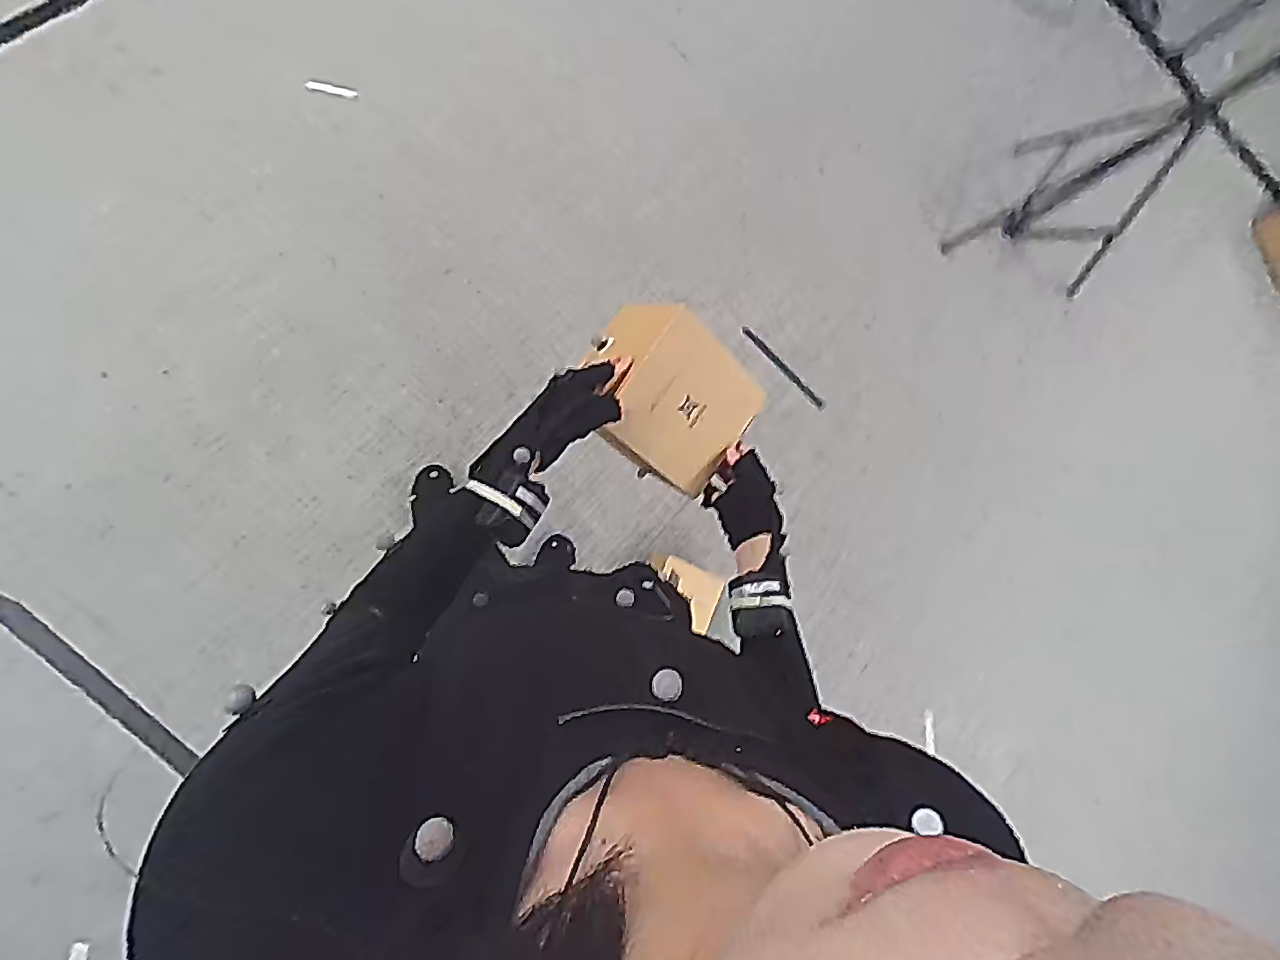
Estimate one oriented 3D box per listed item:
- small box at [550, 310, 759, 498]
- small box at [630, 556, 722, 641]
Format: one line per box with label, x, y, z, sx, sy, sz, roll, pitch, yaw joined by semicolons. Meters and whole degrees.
small box;0.014;-0.106;0.710;0.179;0.176;0.168;36;87;-31
small box;0.092;0.320;1.481;0.179;0.176;0.168;27;77;-10
